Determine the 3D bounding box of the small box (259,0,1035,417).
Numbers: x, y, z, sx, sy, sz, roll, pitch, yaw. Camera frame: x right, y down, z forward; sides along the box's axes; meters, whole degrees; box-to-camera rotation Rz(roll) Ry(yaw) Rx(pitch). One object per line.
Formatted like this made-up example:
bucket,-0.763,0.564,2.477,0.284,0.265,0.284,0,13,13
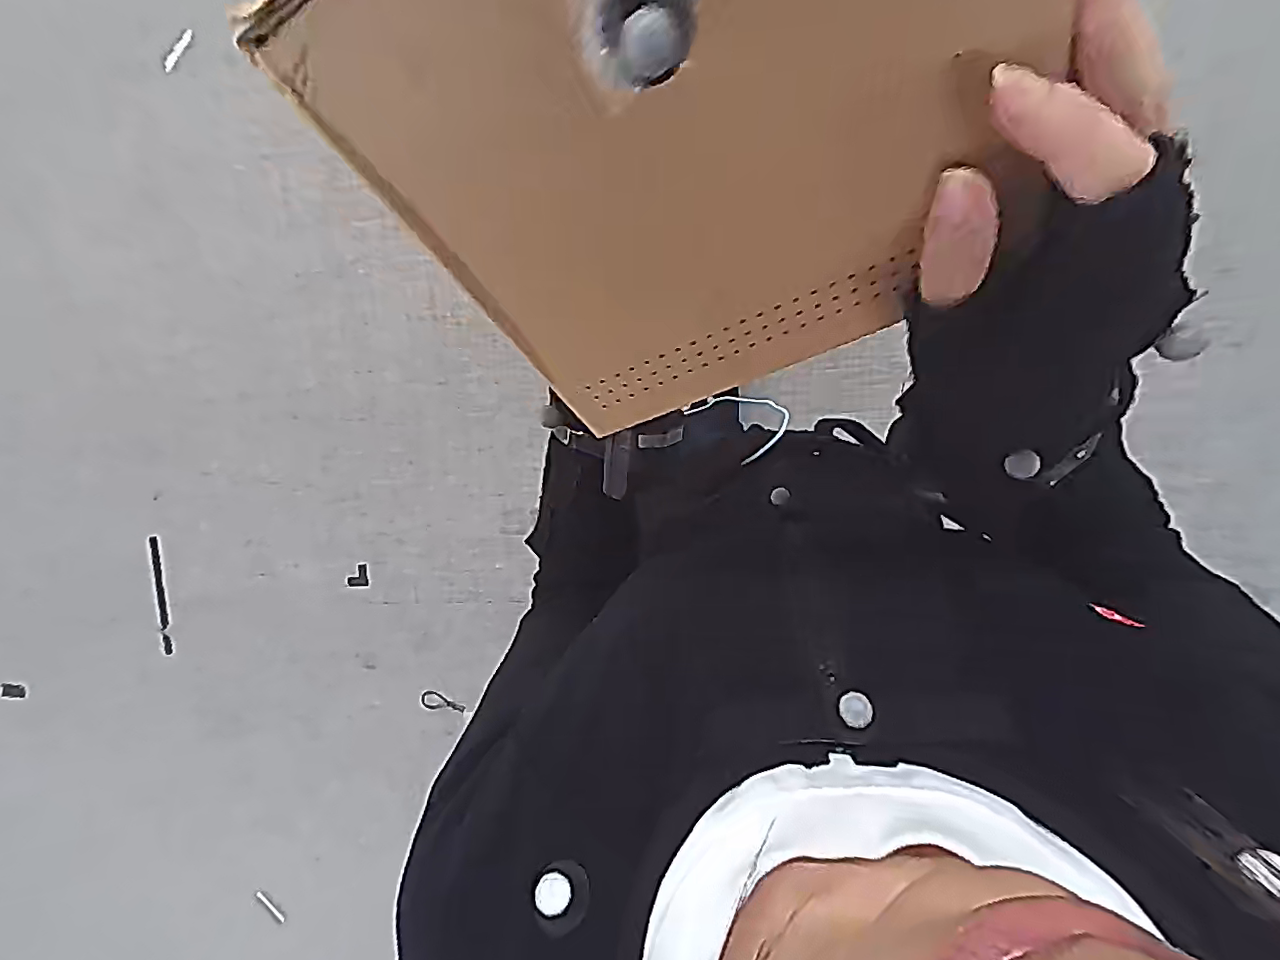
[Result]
small box,0.018,-0.150,0.201,0.179,0.176,0.168,-20,55,18
